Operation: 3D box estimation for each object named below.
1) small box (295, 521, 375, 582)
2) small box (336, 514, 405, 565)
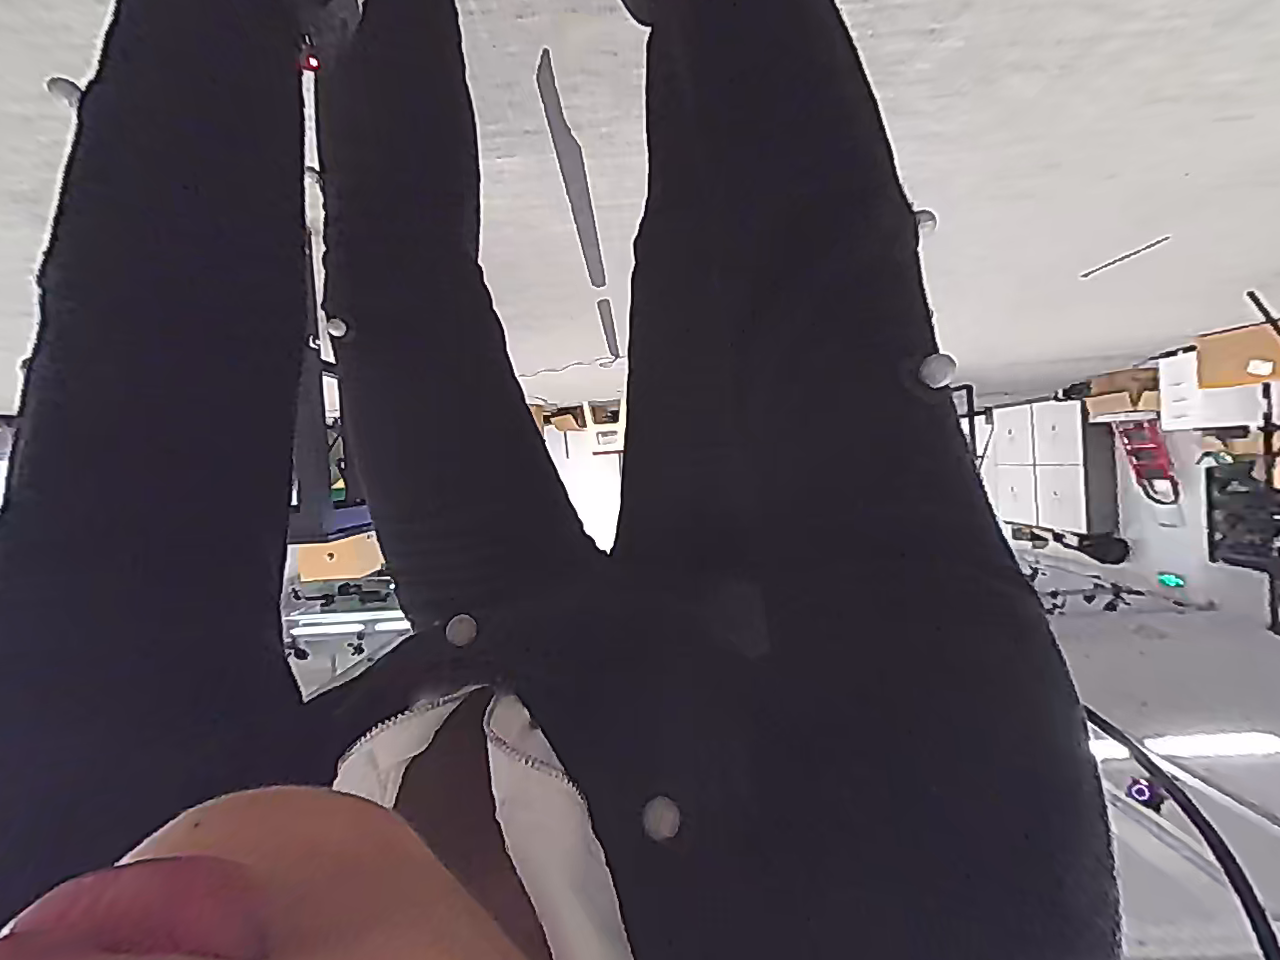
[{"bbox_3d":[-0.973,0.222,1.728,0.179,0.176,0.168,-4,-179,-4],"label":"small box"},{"bbox_3d":[-0.986,0.216,1.978,0.179,0.176,0.168,-3,180,1],"label":"small box"}]
